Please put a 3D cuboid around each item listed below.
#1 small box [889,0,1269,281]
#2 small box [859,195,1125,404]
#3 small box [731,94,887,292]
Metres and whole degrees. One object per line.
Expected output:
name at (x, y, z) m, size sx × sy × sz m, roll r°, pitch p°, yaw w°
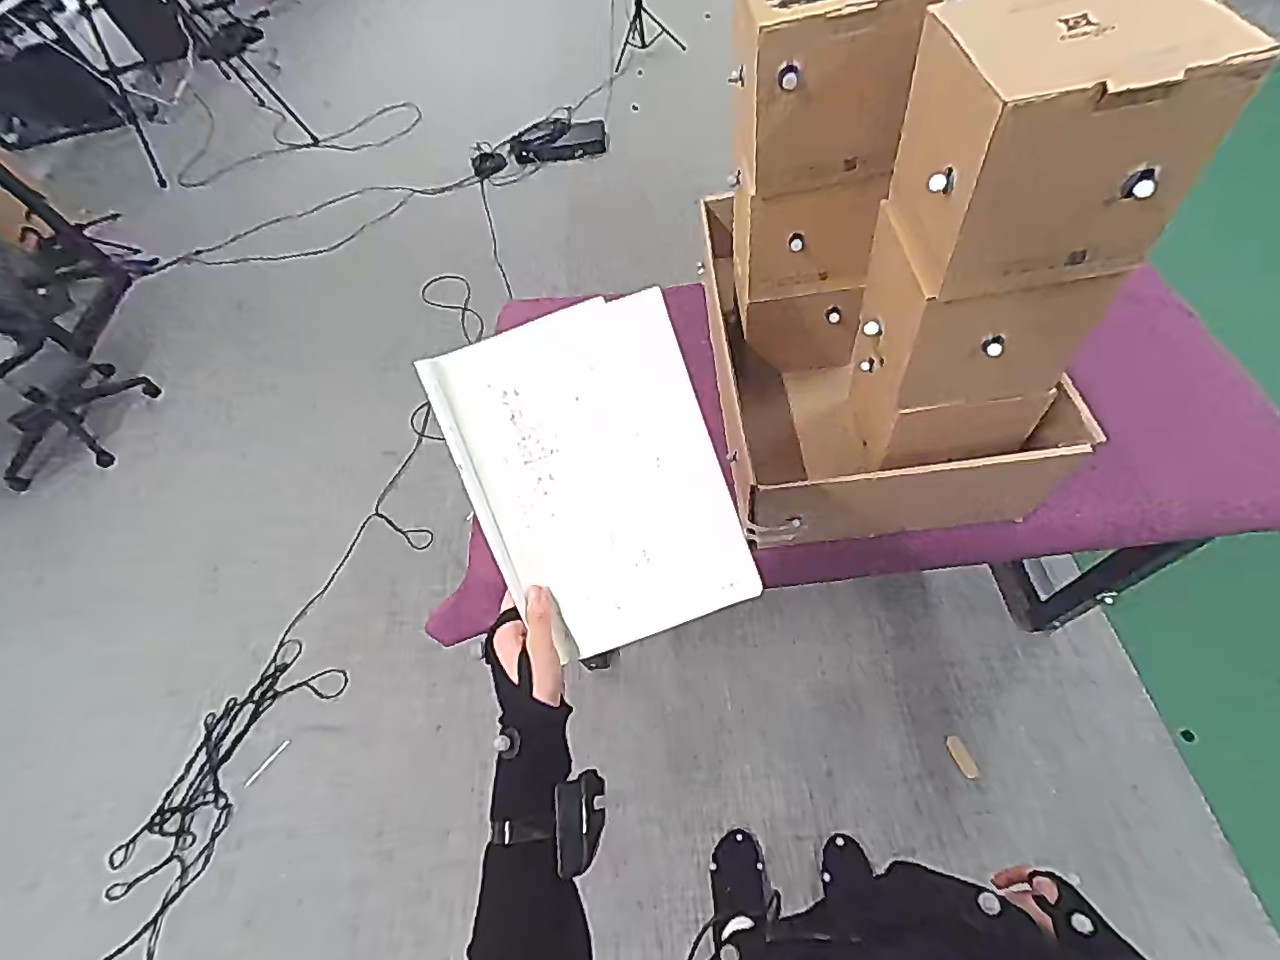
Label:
small box at (0.330, -0.291, 0.461) m, size 0.168 × 0.176 × 0.179 m, roll -7°, pitch 56°, yaw 9°
small box at (0.359, -0.206, 0.597) m, size 0.179 × 0.176 × 0.168 m, roll -7°, pitch 56°, yaw 10°
small box at (0.218, -0.378, 0.739) m, size 0.168 × 0.176 × 0.179 m, roll -6°, pitch 59°, yaw 8°
